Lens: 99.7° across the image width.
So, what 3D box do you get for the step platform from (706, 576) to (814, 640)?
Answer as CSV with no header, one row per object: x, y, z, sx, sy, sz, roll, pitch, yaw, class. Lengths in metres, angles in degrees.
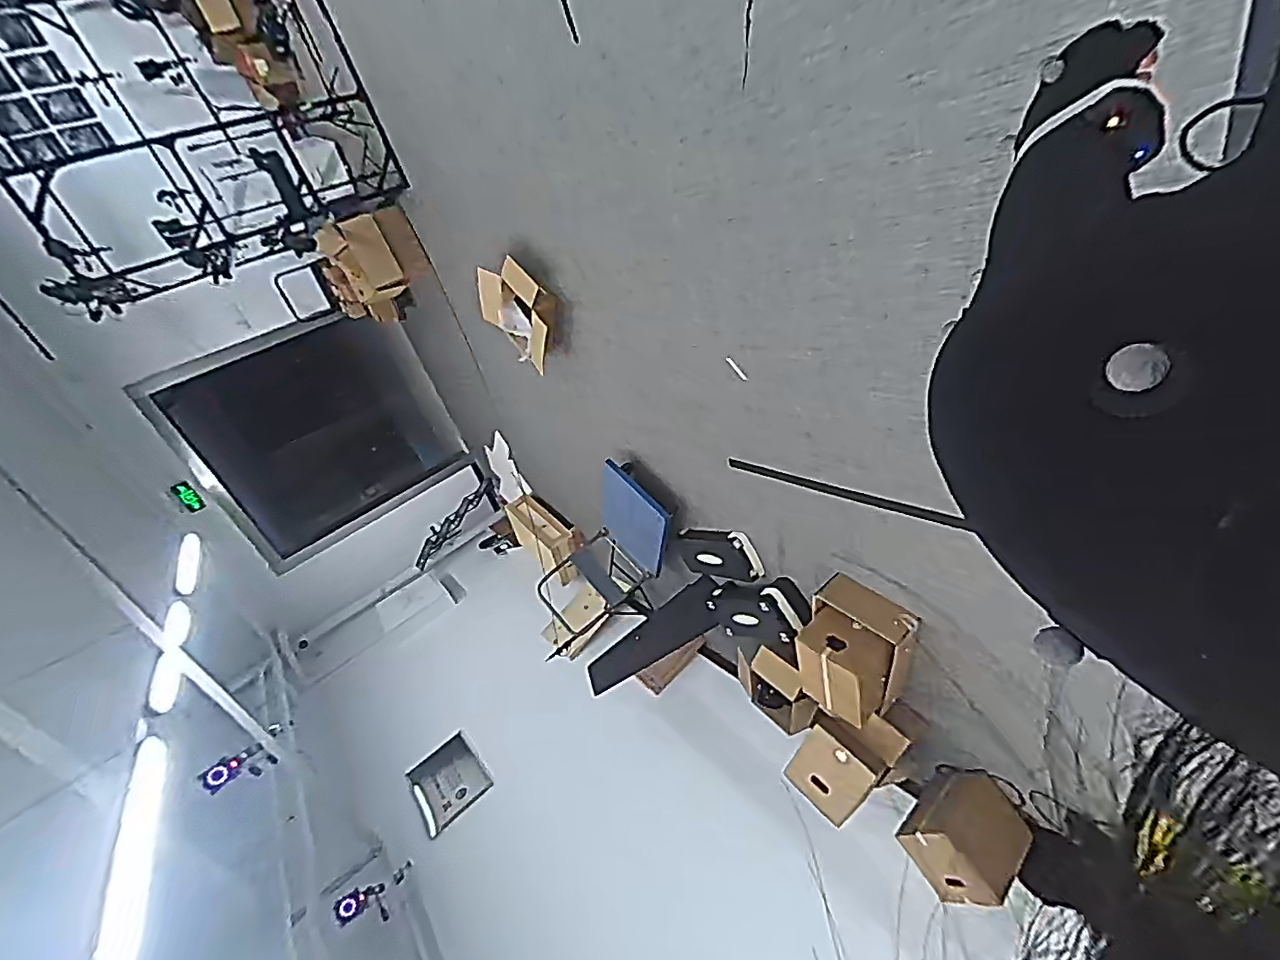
0.654,0.731,3.081,0.286,0.204,0.684,56,154,-3,step platform
